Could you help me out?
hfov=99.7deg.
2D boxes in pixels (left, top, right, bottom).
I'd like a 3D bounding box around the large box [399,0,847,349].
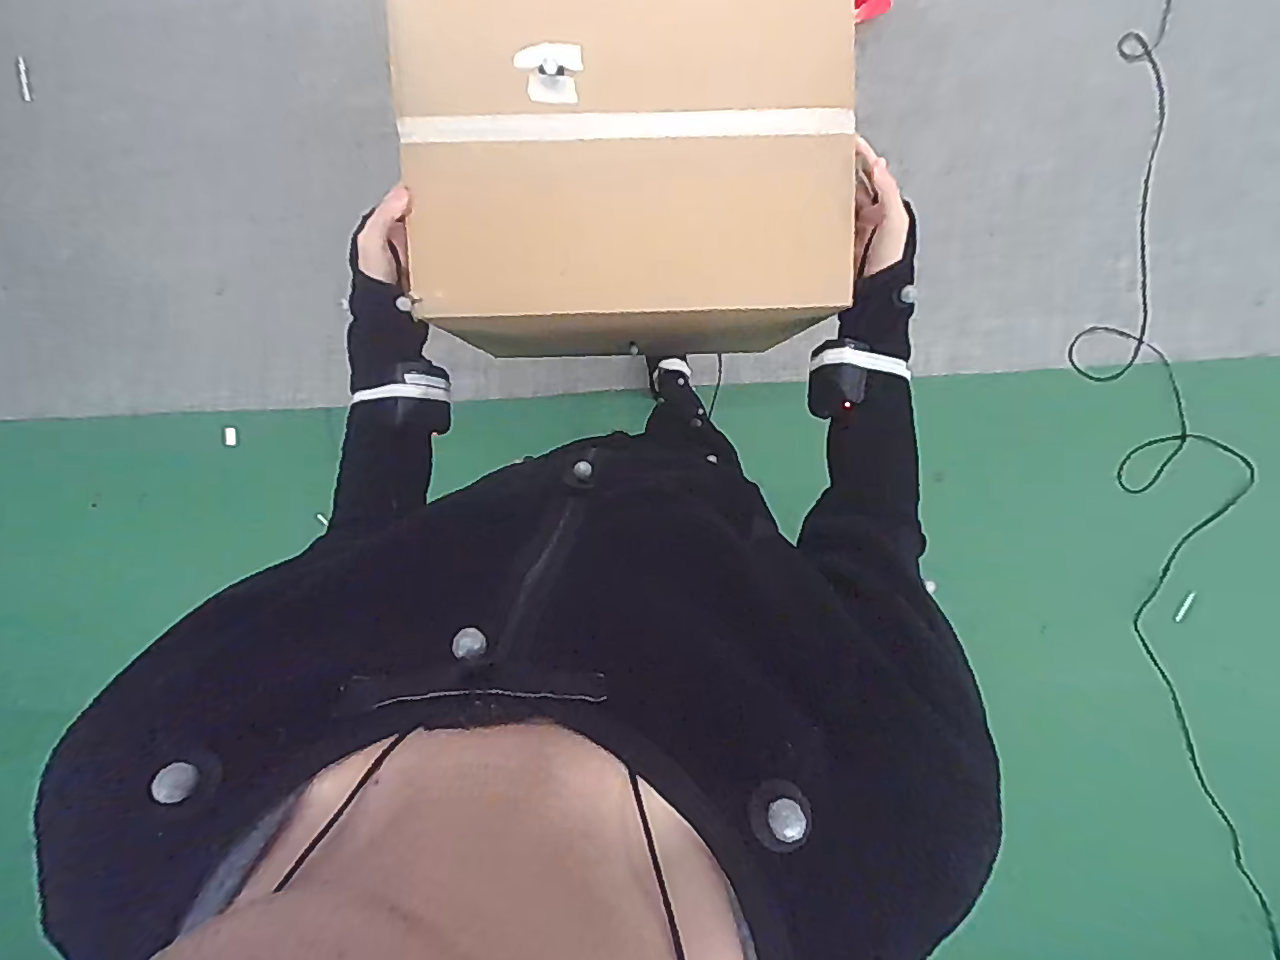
[{"bbox_3d":[-0.010,-0.332,0.639,0.408,0.320,0.320,-2,96,-1],"label":"large box"}]
